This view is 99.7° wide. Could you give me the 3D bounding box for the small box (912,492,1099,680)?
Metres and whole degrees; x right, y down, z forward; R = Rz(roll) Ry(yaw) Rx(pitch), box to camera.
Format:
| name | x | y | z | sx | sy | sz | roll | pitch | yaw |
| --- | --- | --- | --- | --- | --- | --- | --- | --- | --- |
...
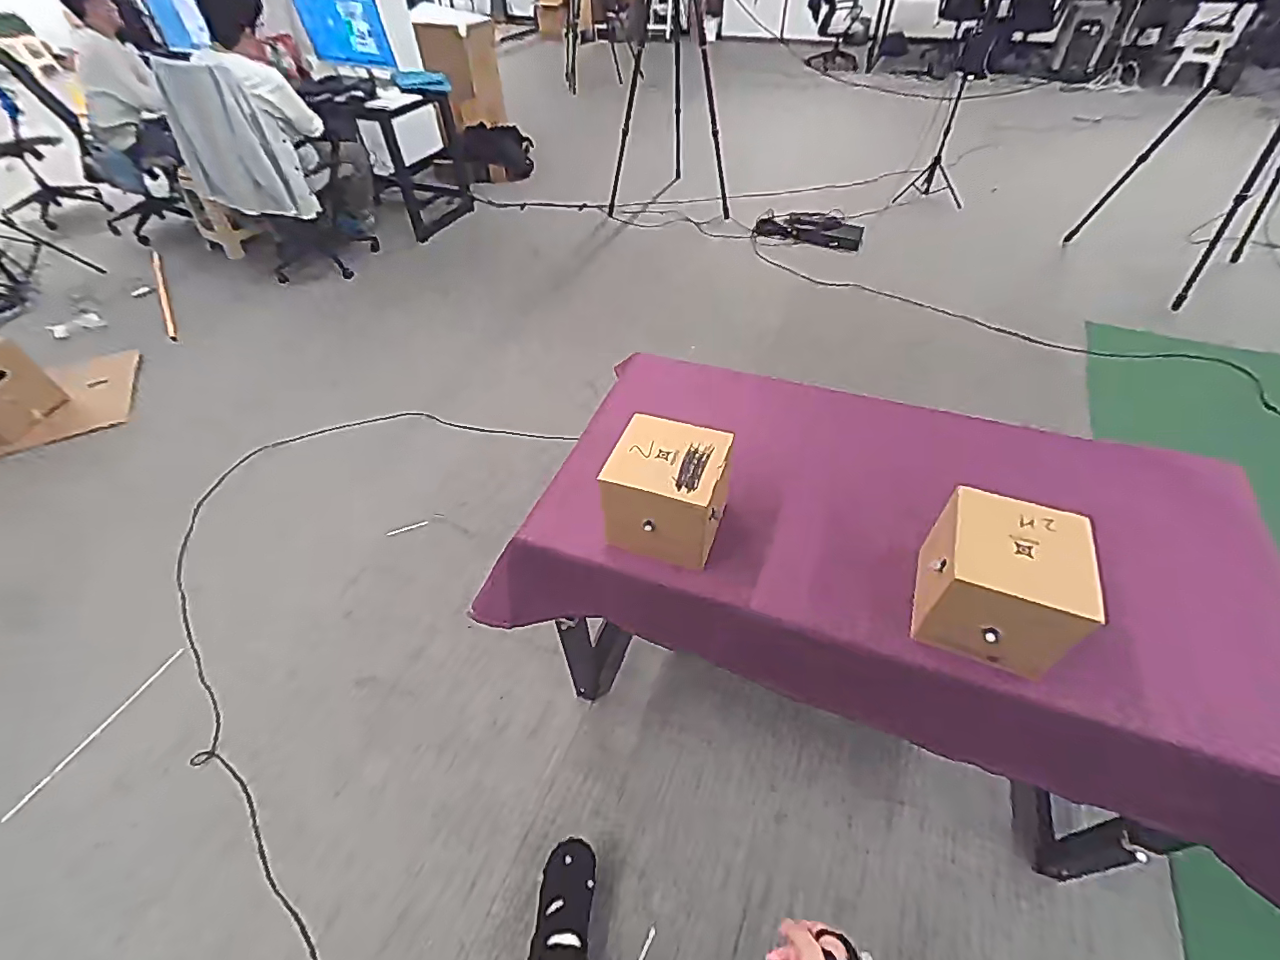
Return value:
| name | x | y | z | sx | sy | sz | roll | pitch | yaw |
| --- | --- | --- | --- | --- | --- | --- | --- | --- | --- |
| small box | 0.504 | 0.153 | 0.770 | 0.168 | 0.176 | 0.179 | 18 | 50 | 17 |
